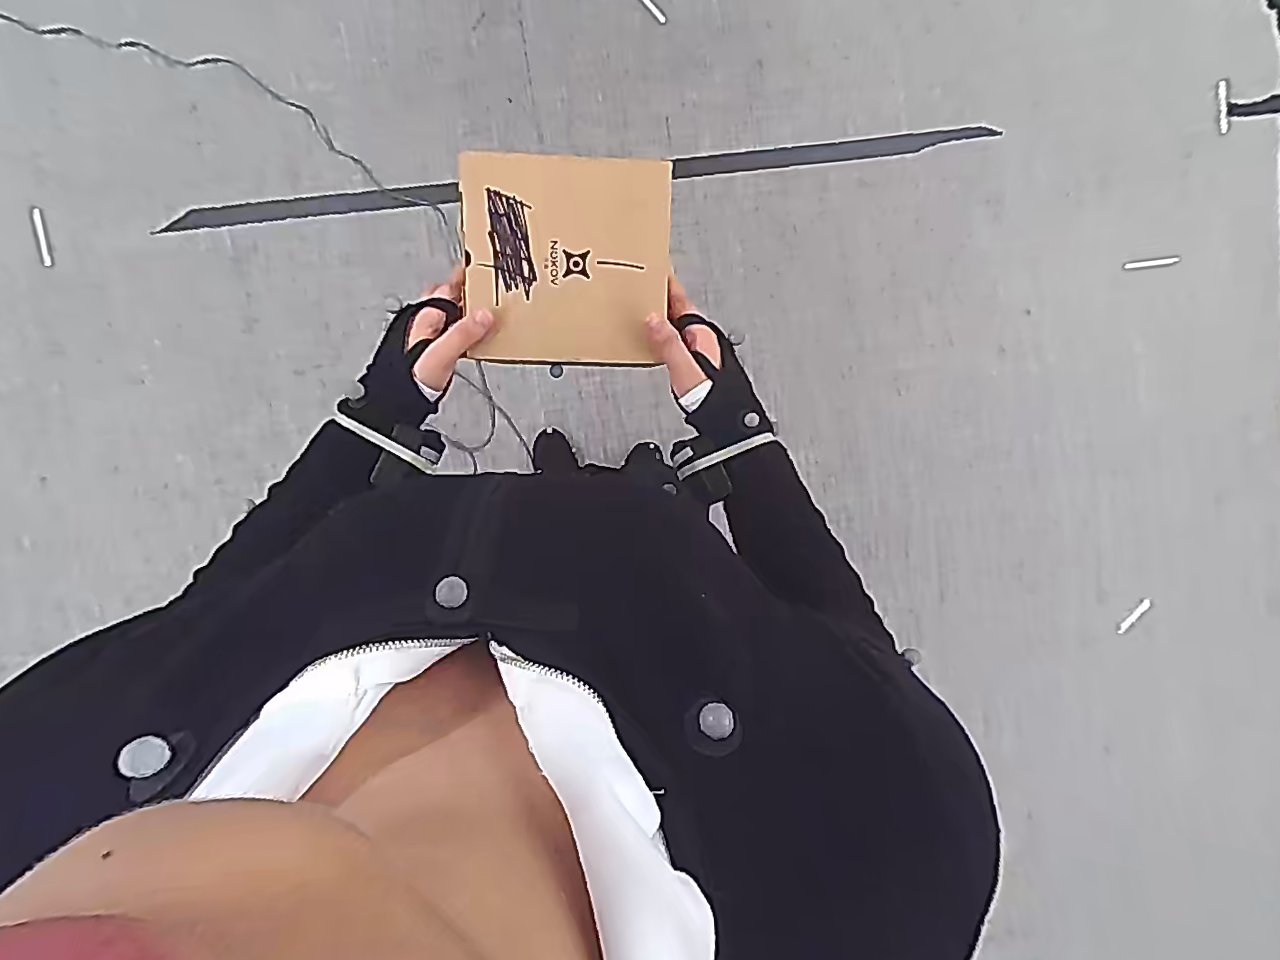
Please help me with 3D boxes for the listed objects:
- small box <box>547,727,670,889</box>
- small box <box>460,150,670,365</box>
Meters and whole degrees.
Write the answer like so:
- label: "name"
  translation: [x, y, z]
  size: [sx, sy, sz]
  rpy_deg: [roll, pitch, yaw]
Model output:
- label: "small box"
  translation: [-0.052, 0.583, 0.983]
  size: [0.179, 0.176, 0.168]
  rpy_deg: [-16, 92, -1]
- label: "small box"
  translation: [-0.068, -0.204, 0.541]
  size: [0.179, 0.176, 0.168]
  rpy_deg: [1, 101, -4]
